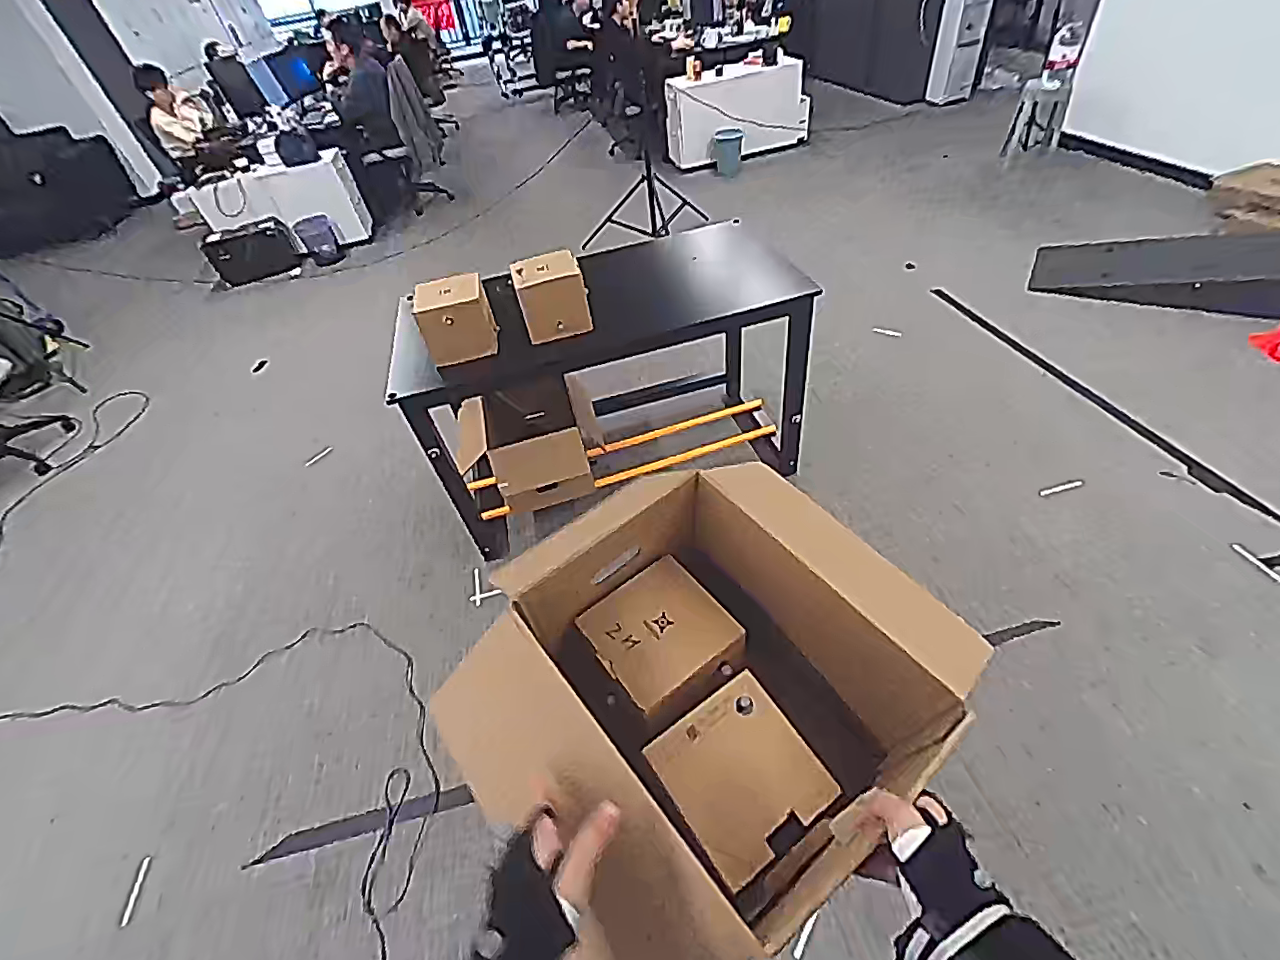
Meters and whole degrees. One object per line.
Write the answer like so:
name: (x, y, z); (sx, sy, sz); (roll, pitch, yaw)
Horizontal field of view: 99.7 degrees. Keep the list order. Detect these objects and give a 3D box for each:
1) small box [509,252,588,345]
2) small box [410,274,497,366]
small box: (-0.247, -0.498, 1.489); (0.179, 0.176, 0.168); (-16, 45, -7)
small box: (-0.501, -0.430, 1.467); (0.179, 0.176, 0.168); (-14, 46, -5)
